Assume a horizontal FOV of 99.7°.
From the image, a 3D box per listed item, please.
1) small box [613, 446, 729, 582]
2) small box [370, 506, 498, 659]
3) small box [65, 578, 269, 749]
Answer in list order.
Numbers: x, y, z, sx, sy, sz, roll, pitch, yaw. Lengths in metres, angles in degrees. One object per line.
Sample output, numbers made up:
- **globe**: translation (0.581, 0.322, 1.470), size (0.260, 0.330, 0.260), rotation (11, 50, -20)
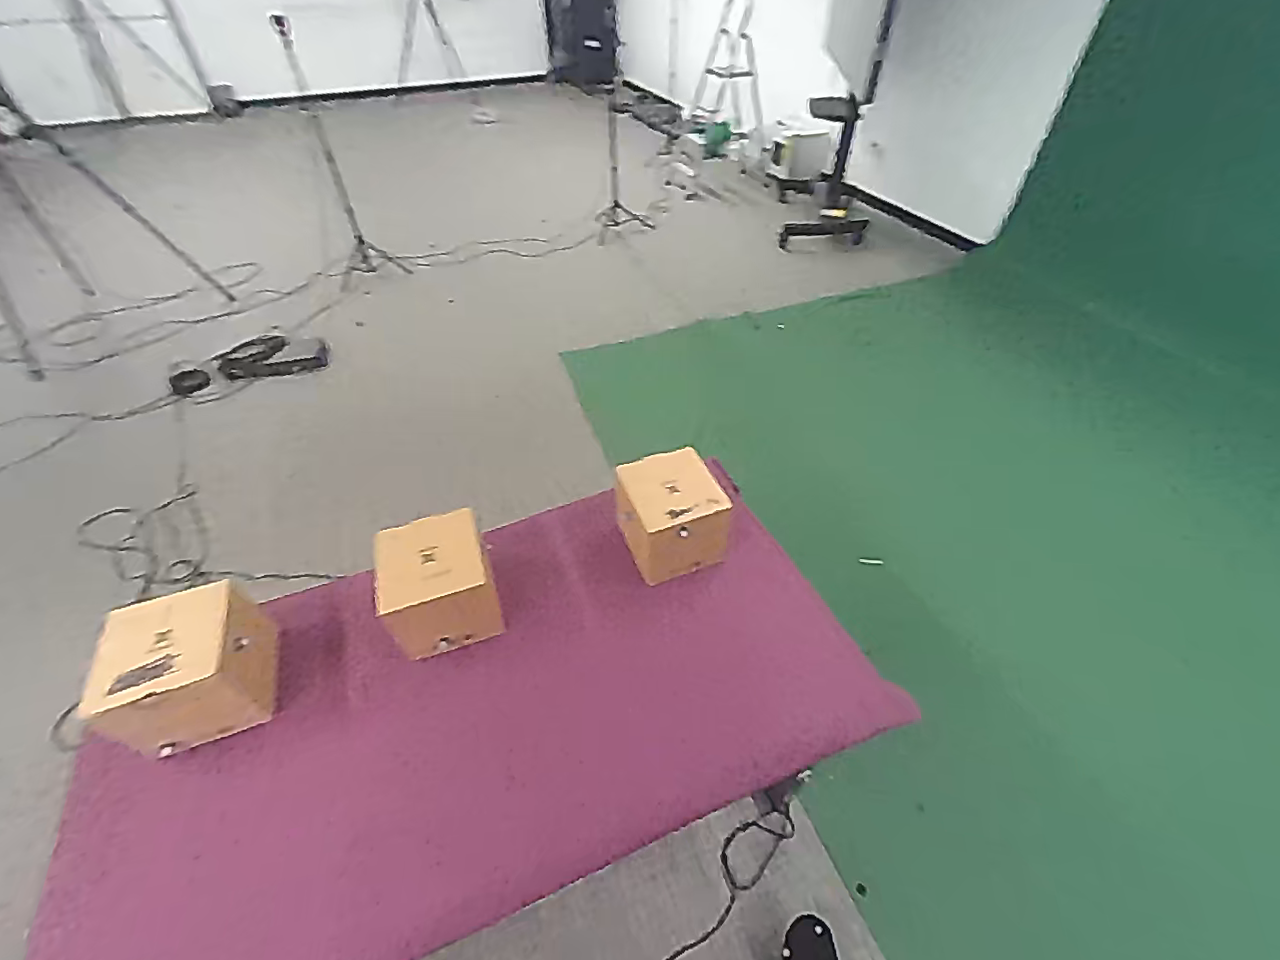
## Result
- **small box**: translation (0.052, 0.066, 1.051), size (0.168, 0.176, 0.179), rotation (-17, 49, -15)
- **small box**: translation (-0.355, 0.178, 0.940), size (0.168, 0.176, 0.179), rotation (-15, 50, -14)
- **small box**: translation (-0.698, 0.286, 0.826), size (0.168, 0.176, 0.179), rotation (-16, 50, -16)
